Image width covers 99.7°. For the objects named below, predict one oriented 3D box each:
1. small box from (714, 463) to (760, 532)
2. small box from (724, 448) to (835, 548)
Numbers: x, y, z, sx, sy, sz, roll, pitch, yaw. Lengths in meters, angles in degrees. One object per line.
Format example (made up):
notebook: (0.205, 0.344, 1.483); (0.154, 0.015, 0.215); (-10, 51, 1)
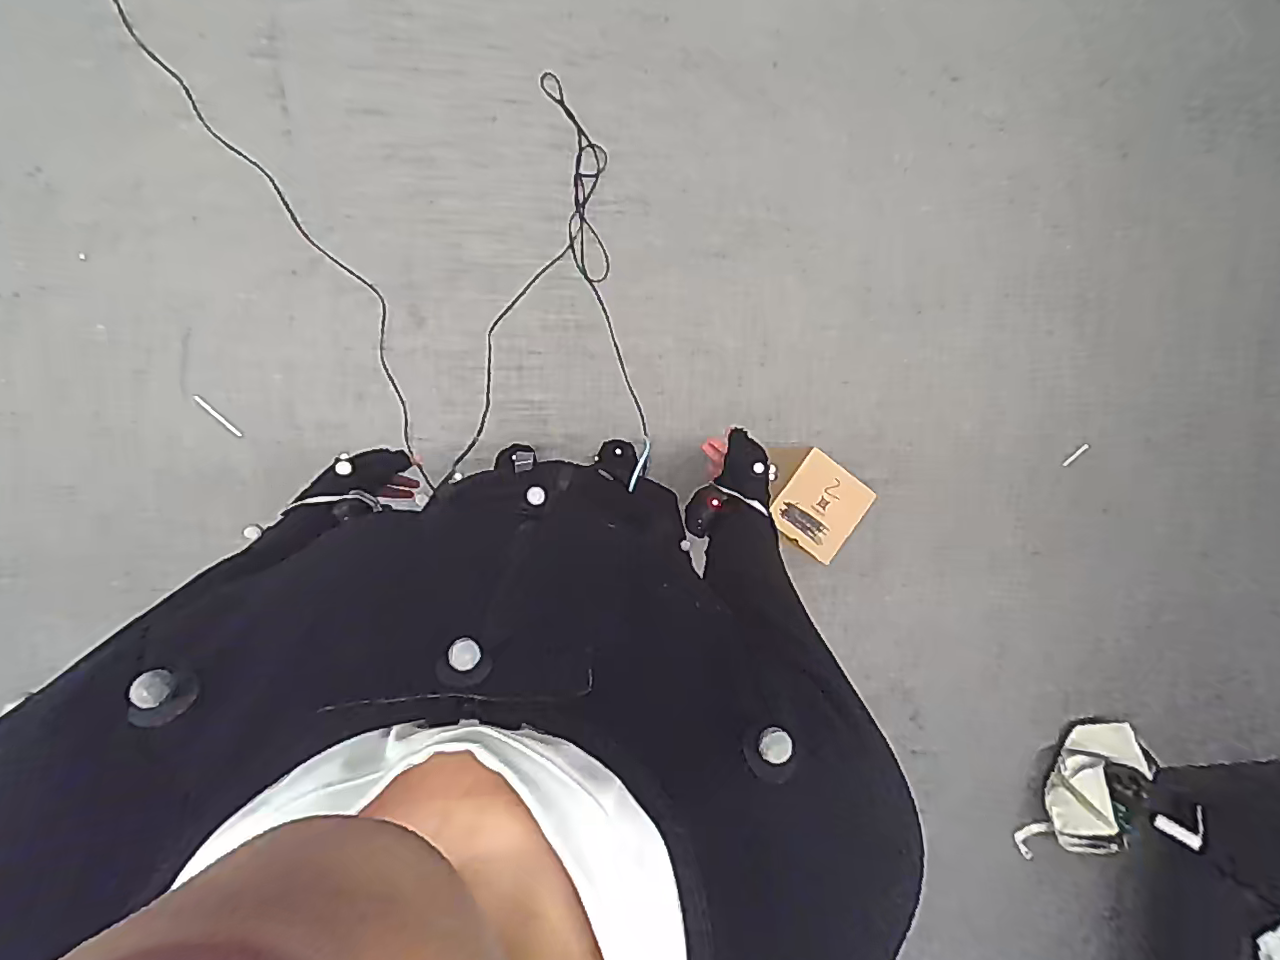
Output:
small box: (0.299, 0.040, 1.440); (0.179, 0.176, 0.168); (-5, 95, -7)
small box: (0.323, 0.035, 1.293); (0.168, 0.176, 0.179); (30, 91, -7)
